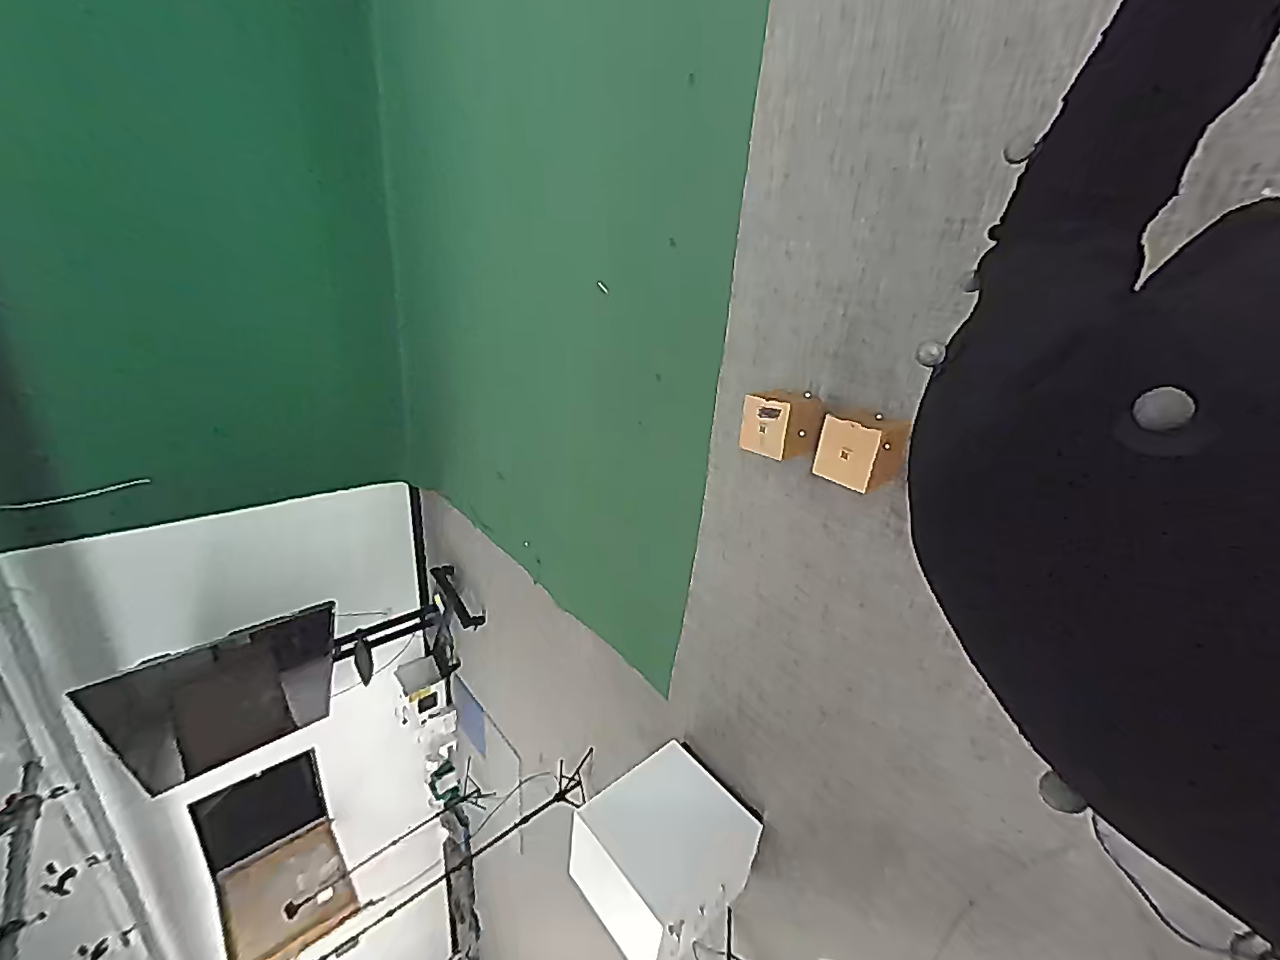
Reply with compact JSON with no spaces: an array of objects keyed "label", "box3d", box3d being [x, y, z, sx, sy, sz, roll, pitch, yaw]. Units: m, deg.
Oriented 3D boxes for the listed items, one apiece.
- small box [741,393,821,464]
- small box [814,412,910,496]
[{"label":"small box","box3d":[0.438,-0.167,1.674,0.168,0.176,0.179,25,119,44]},{"label":"small box","box3d":[0.614,-0.078,1.492,0.168,0.176,0.179,29,121,42]}]
